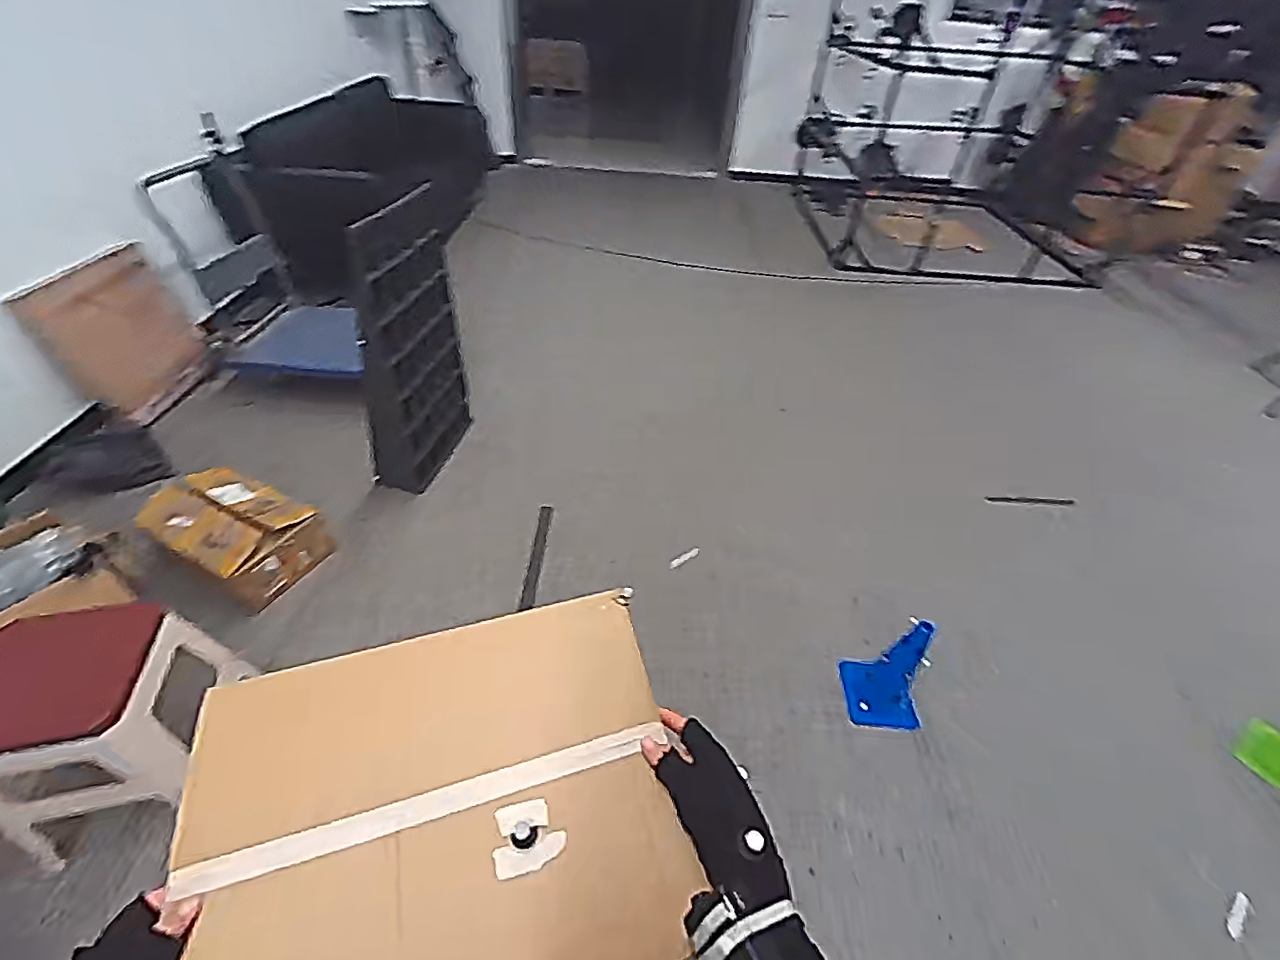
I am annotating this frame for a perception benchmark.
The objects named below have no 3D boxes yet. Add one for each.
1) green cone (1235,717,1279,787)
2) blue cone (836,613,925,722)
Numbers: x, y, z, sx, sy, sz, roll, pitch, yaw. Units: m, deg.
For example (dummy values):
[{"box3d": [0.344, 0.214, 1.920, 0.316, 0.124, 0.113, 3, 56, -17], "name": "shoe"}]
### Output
[{"box3d": [1.820, 0.665, 1.401, 0.200, 0.368, 0.202, -24, 48, -28], "name": "green cone"}, {"box3d": [0.704, 0.503, 1.503, 0.193, 0.380, 0.192, 6, 41, 1], "name": "blue cone"}]
